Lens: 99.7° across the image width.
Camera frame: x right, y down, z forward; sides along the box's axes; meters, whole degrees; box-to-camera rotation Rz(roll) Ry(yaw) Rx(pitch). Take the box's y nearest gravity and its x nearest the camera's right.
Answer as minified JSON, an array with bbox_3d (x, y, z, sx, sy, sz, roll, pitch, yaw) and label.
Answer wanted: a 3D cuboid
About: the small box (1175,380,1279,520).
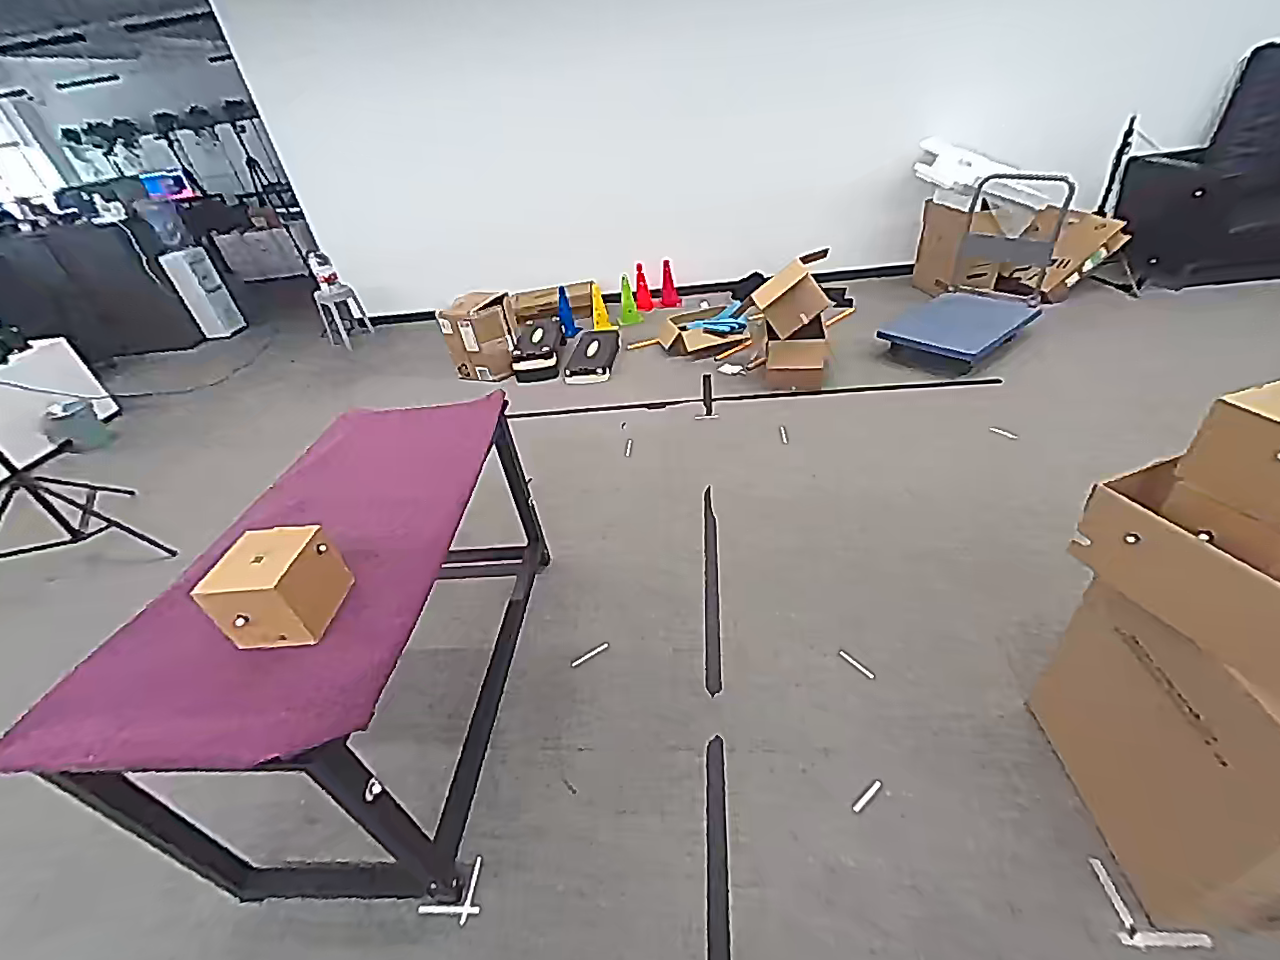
[{"bbox_3d":[1.094,-0.048,0.919,0.168,0.176,0.179,-14,35,-6],"label":"small box"}]

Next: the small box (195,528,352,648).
[{"bbox_3d":[-0.718,0.223,1.088,0.168,0.176,0.179,-6,35,4],"label":"small box"}]
